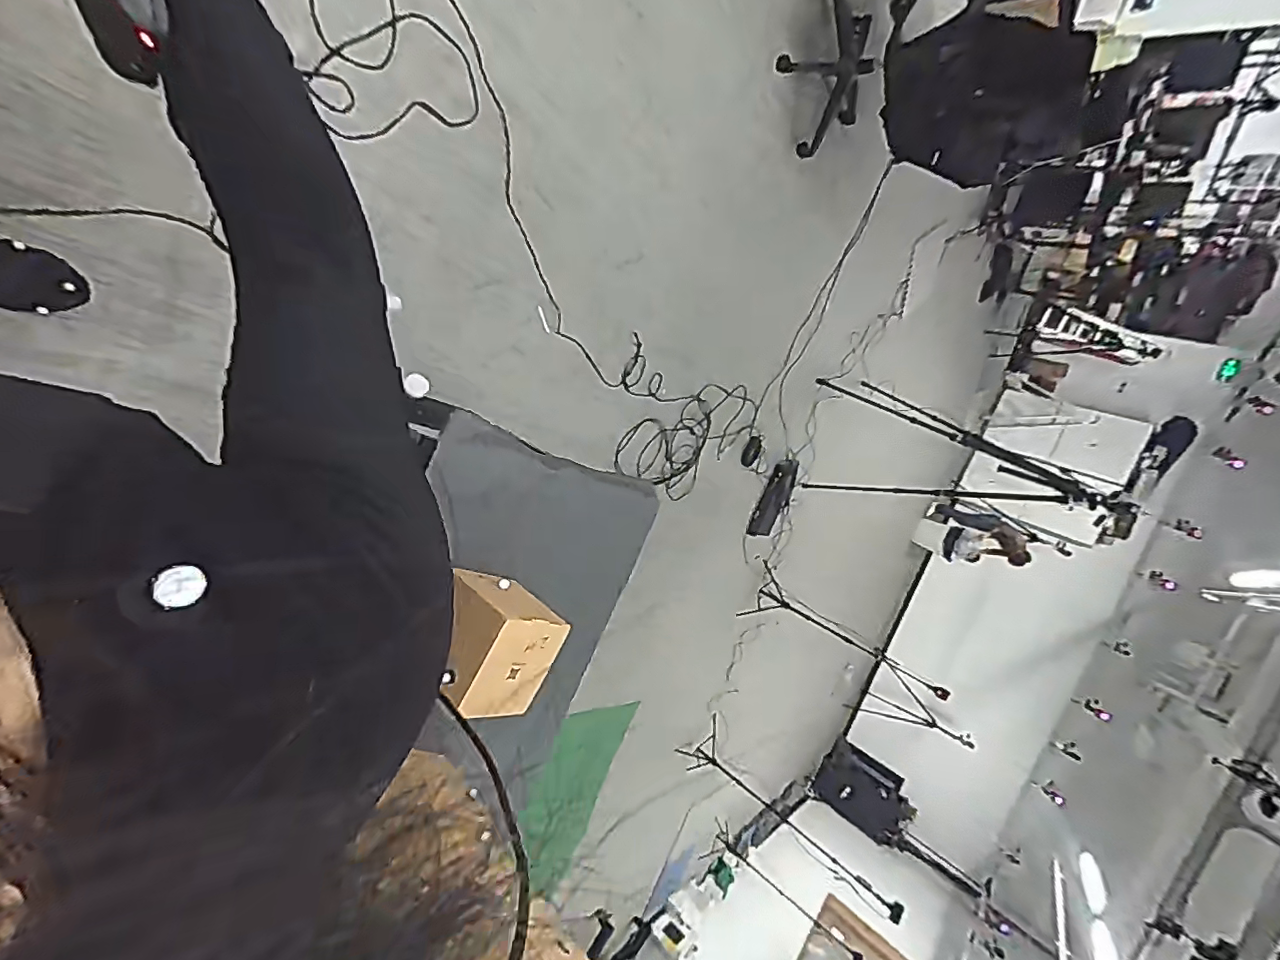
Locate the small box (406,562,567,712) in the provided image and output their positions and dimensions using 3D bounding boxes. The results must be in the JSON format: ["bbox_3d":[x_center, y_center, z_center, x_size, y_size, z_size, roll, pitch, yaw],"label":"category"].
[{"bbox_3d":[-0.264,0.264,0.916,0.168,0.176,0.179,31,86,-55],"label":"small box"}]

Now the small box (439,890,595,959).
[{"bbox_3d":[-0.178,0.702,0.735,0.179,0.176,0.168,-49,143,-18],"label":"small box"}]

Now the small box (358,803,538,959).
[{"bbox_3d":[-0.298,0.644,0.829,0.179,0.176,0.168,-48,142,-21],"label":"small box"}]
